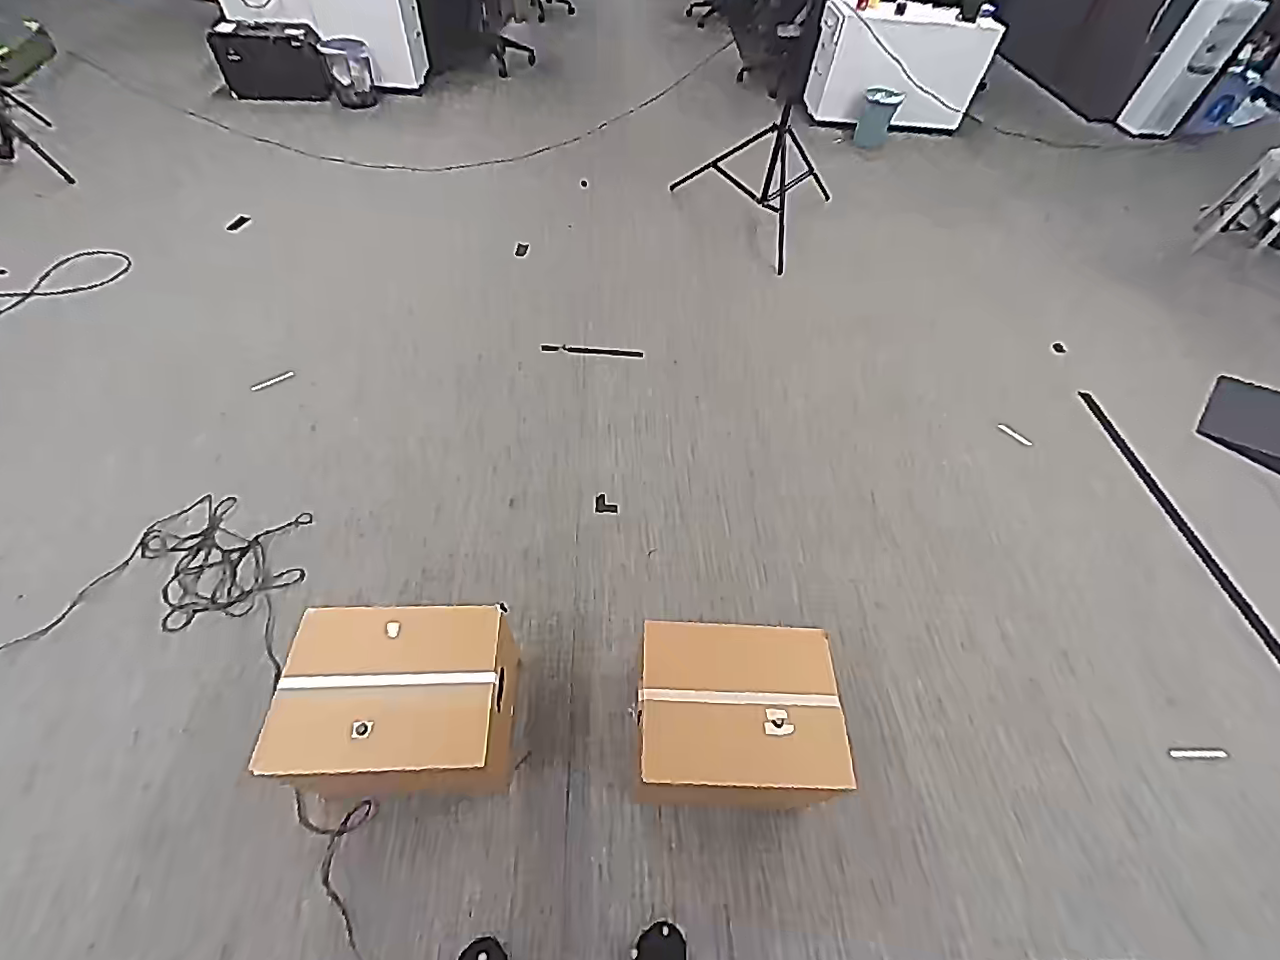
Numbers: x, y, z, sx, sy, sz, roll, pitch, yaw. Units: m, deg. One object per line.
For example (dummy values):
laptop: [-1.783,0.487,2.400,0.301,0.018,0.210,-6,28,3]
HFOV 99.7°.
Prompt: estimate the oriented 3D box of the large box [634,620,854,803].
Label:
large box: [0.196,0.528,1.216,0.408,0.320,0.320,4,53,-3]
